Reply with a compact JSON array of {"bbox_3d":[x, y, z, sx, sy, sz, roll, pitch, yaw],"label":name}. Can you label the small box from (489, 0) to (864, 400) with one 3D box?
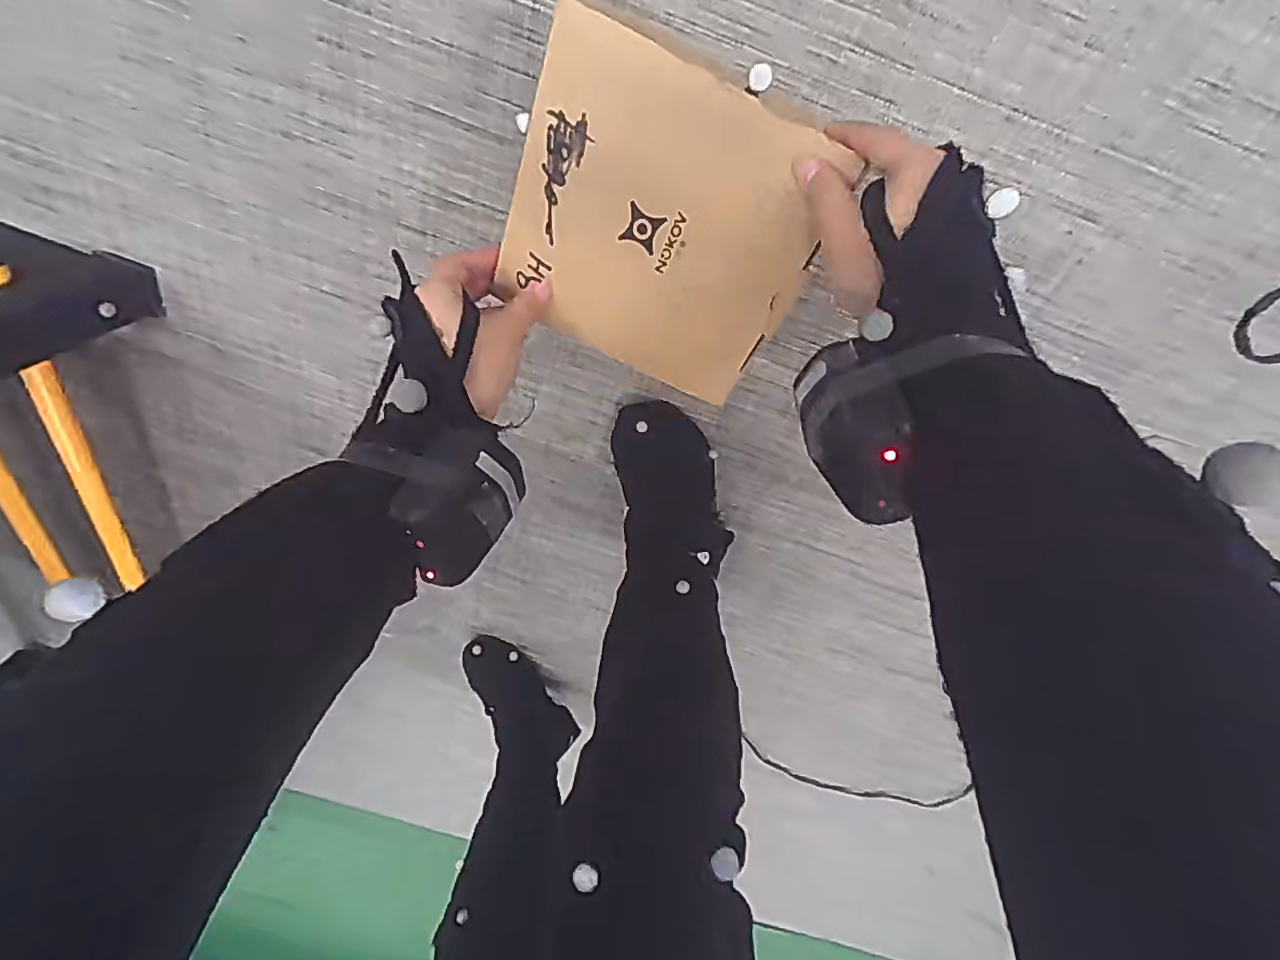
[{"bbox_3d":[0.023,-0.193,0.380,0.179,0.176,0.168,25,128,-6],"label":"small box"}]
